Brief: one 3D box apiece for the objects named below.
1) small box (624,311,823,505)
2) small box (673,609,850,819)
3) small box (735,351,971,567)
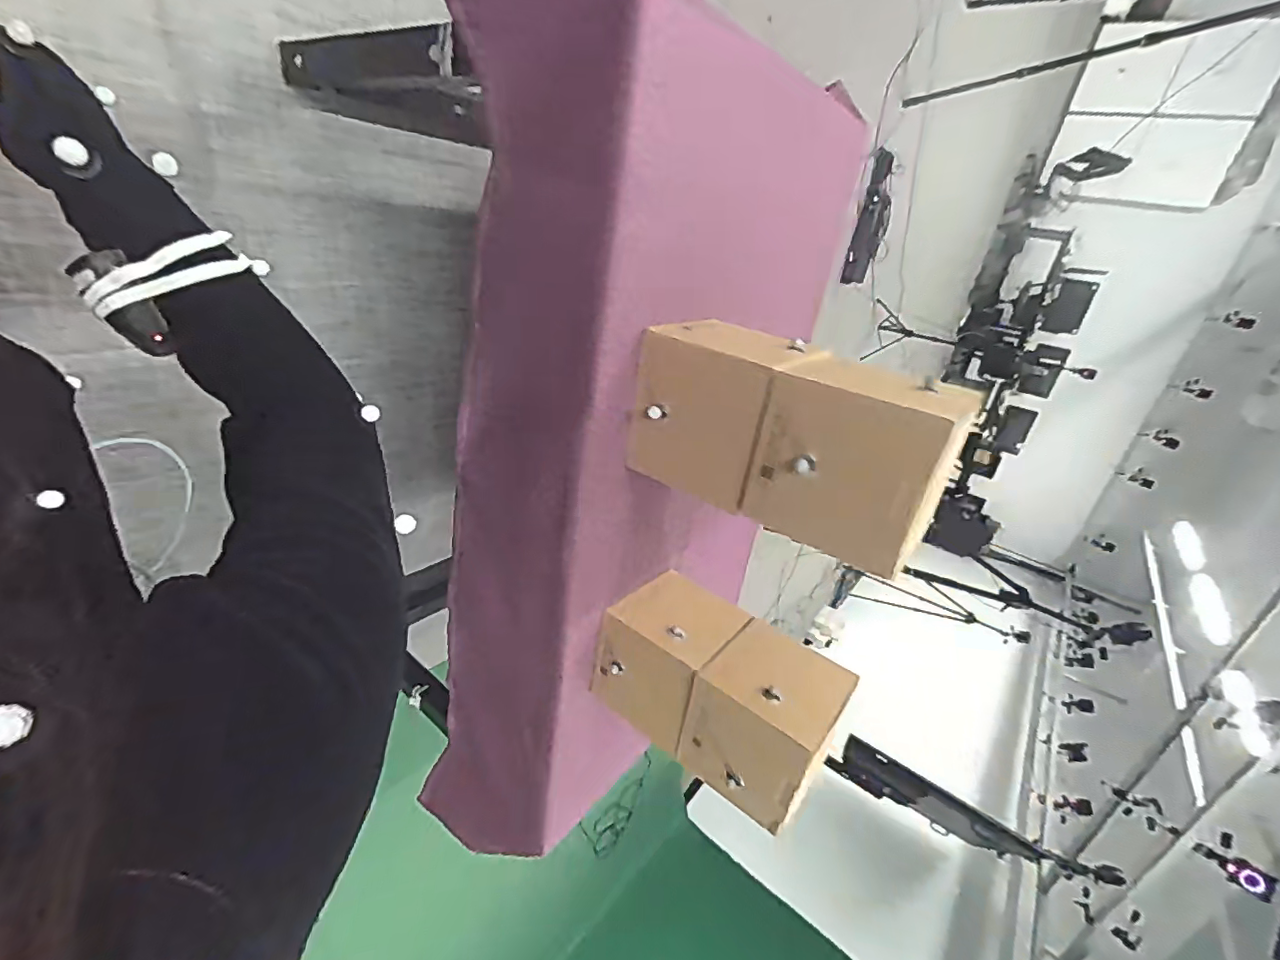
[{"bbox_3d":[0.097,-0.099,0.675,0.168,0.176,0.179,-26,134,-48],"label":"small box"},{"bbox_3d":[0.168,0.318,0.771,0.179,0.176,0.168,-23,131,-49],"label":"small box"},{"bbox_3d":[0.230,-0.039,0.596,0.179,0.176,0.168,-23,130,-48],"label":"small box"}]
